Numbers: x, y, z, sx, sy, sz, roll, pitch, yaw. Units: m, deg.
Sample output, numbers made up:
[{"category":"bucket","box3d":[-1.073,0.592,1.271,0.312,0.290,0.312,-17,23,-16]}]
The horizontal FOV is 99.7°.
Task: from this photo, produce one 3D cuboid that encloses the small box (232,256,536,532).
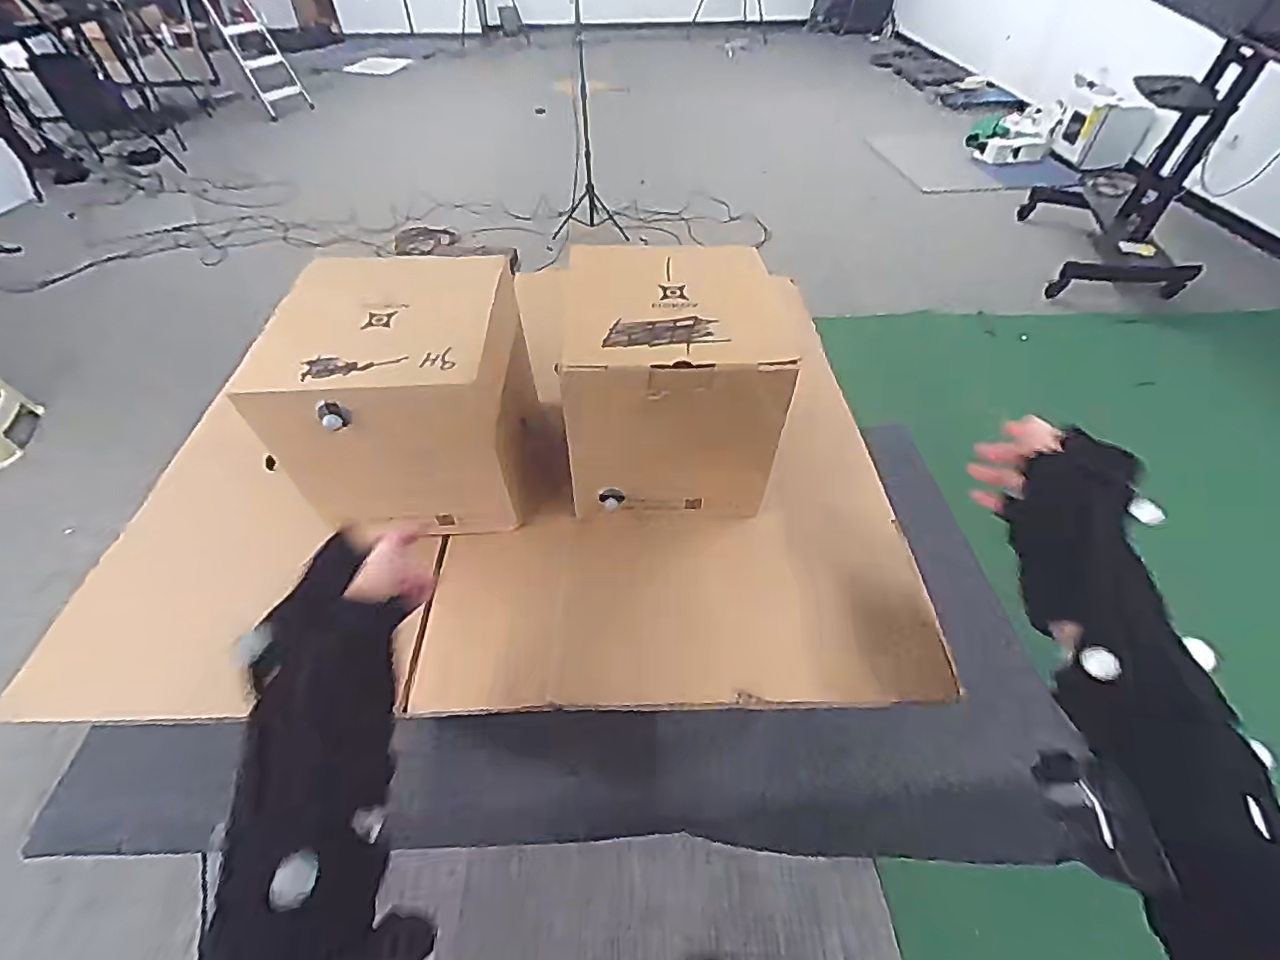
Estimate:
[{"category":"small box","box3d":[-0.191,-0.074,0.473,0.168,0.176,0.179,-3,49,1]}]
